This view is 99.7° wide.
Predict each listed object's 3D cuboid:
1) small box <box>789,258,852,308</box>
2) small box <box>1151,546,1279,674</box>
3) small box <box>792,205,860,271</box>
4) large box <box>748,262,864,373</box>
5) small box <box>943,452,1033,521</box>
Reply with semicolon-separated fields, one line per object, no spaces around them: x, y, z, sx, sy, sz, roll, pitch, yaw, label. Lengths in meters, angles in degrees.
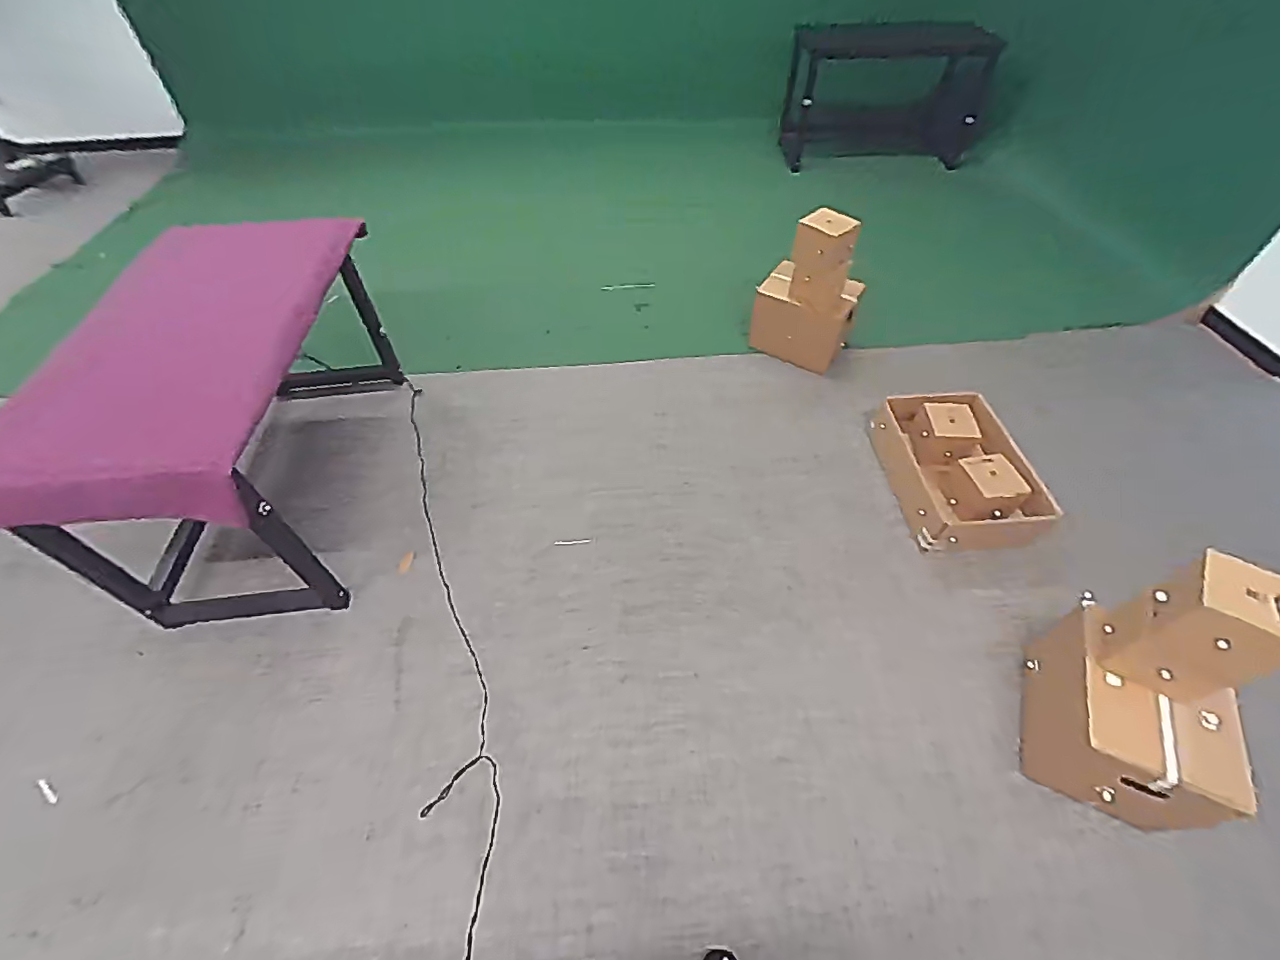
0.754;-0.849;2.274;0.179;0.176;0.168;36;62;27;small box
1.228;0.276;1.120;0.179;0.176;0.168;28;57;24;small box
0.735;-0.956;2.152;0.168;0.176;0.179;-36;58;-23;small box
0.763;-0.756;2.512;0.408;0.320;0.320;26;55;22;large box
1.196;0.029;1.873;0.168;0.176;0.179;-8;50;-4;small box
